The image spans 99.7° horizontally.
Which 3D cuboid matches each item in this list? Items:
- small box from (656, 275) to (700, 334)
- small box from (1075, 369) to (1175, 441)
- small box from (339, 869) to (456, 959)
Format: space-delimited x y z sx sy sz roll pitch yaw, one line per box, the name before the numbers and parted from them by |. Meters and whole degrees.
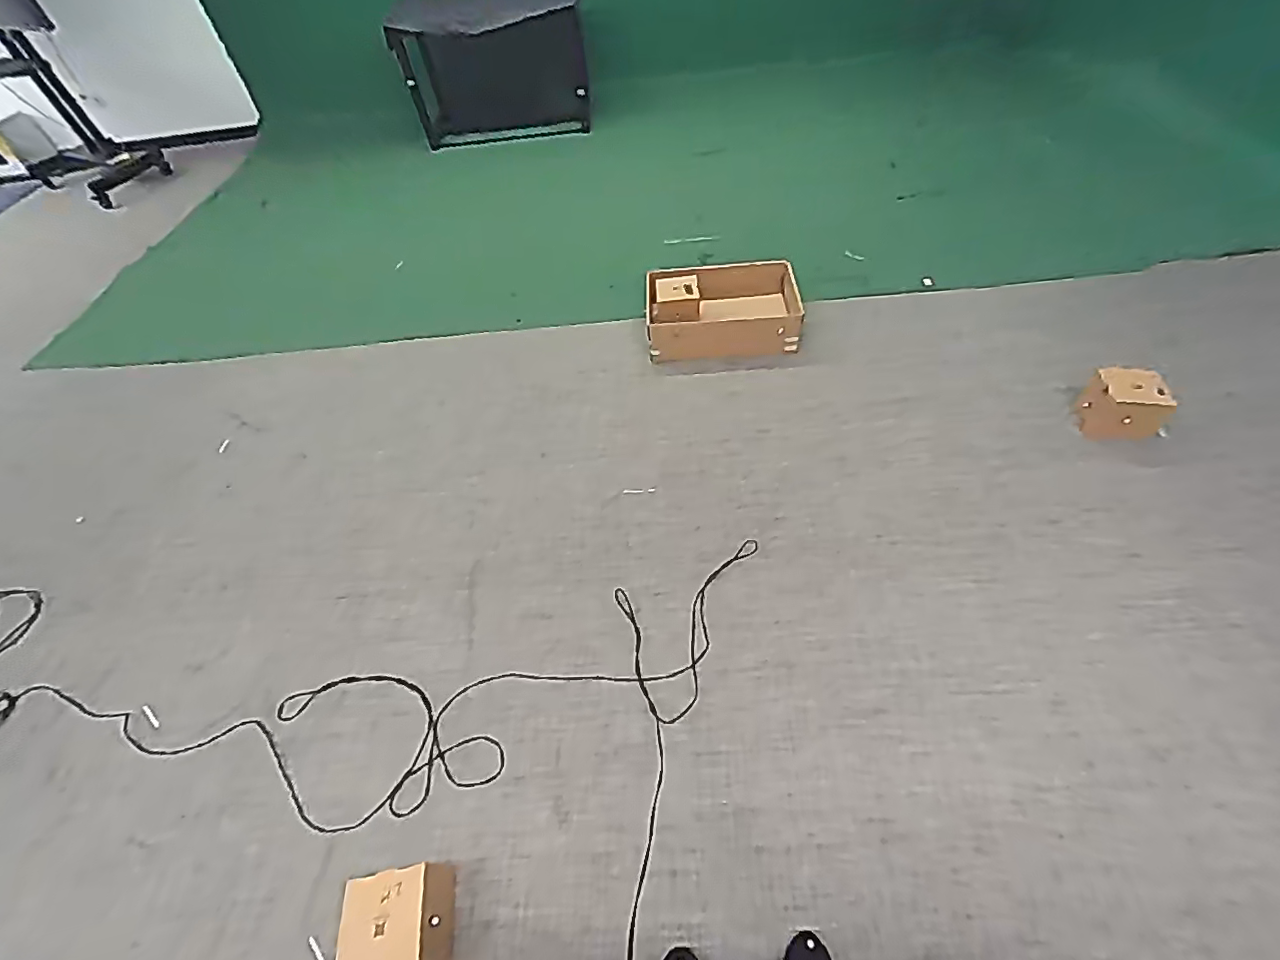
small box | 0.161 -0.734 2.274 0.179 0.176 0.168 -4 53 4
small box | 1.588 -0.246 1.789 0.179 0.176 0.168 5 53 11
small box | -0.488 0.923 1.110 0.168 0.176 0.179 -11 51 -2
